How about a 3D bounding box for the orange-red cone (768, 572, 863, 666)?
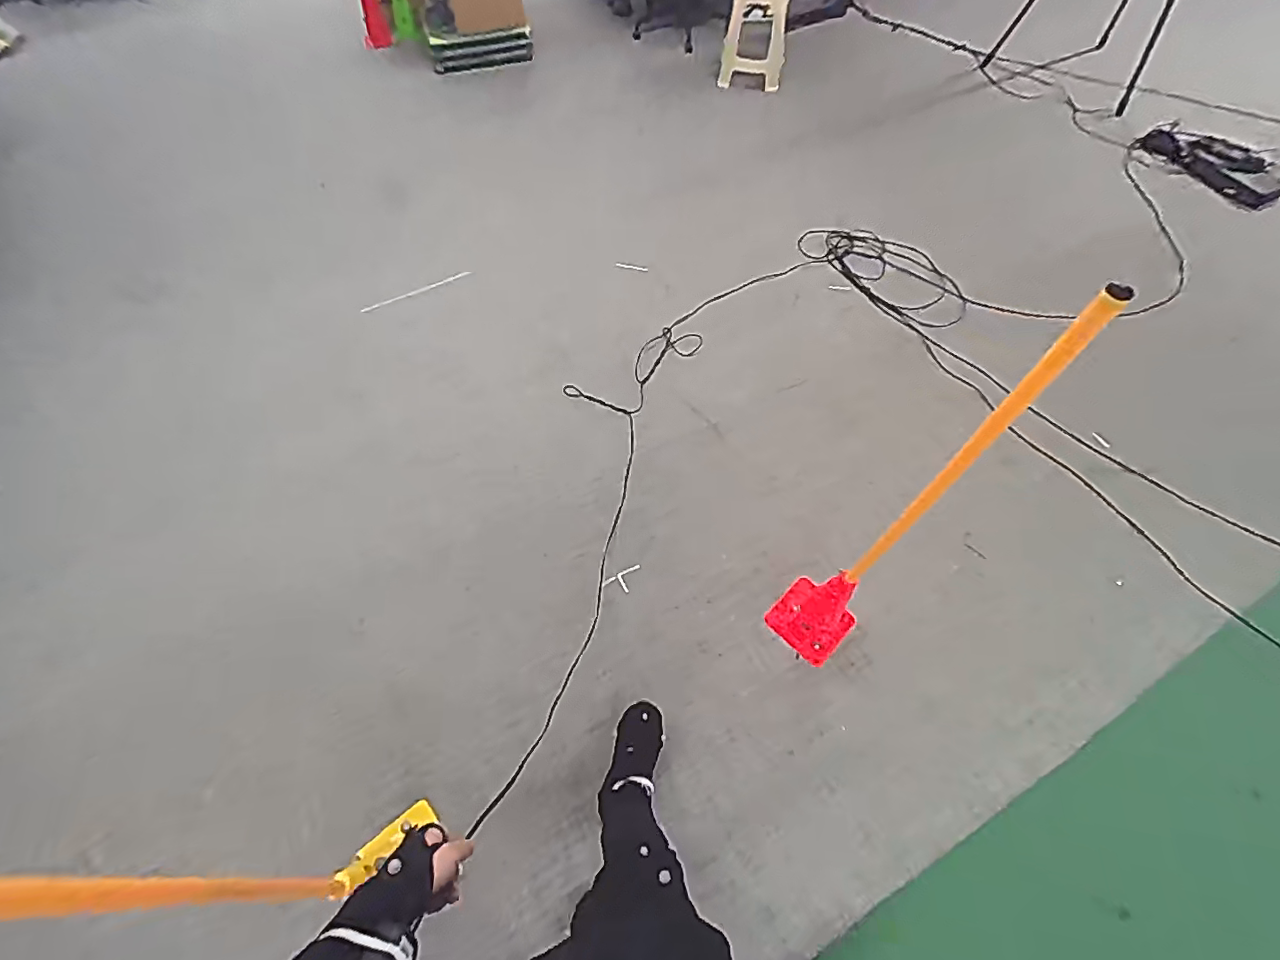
[{"bbox_3d":[0.496,0.317,1.405,0.199,0.360,0.198,-39,68,-22],"label":"orange-red cone"}]
